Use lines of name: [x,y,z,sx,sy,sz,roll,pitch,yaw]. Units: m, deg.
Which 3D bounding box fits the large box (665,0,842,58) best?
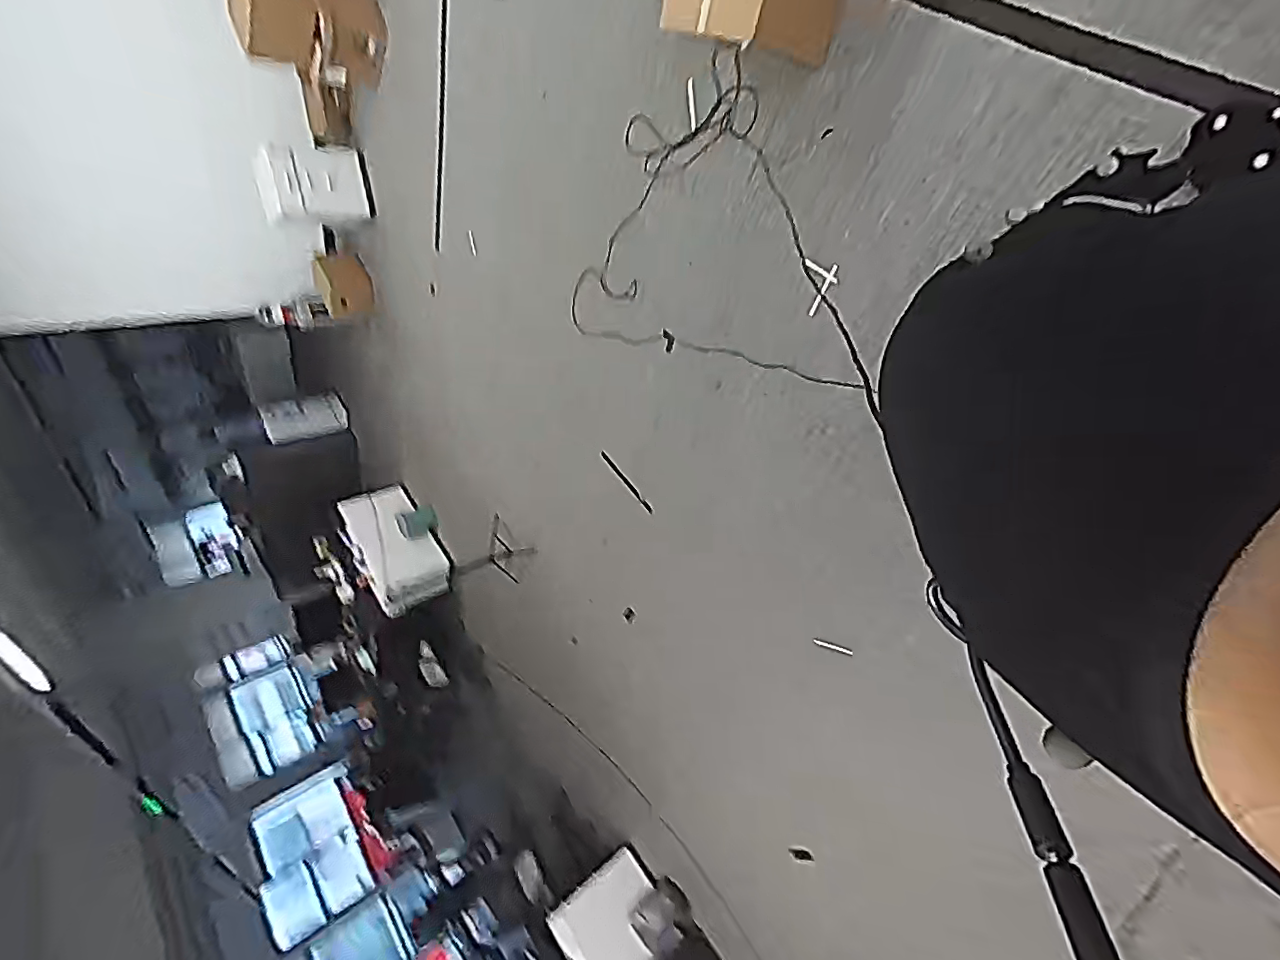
large box: [0.305,-1.279,1.260,0.320,0.320,0.408,40,135,31]
